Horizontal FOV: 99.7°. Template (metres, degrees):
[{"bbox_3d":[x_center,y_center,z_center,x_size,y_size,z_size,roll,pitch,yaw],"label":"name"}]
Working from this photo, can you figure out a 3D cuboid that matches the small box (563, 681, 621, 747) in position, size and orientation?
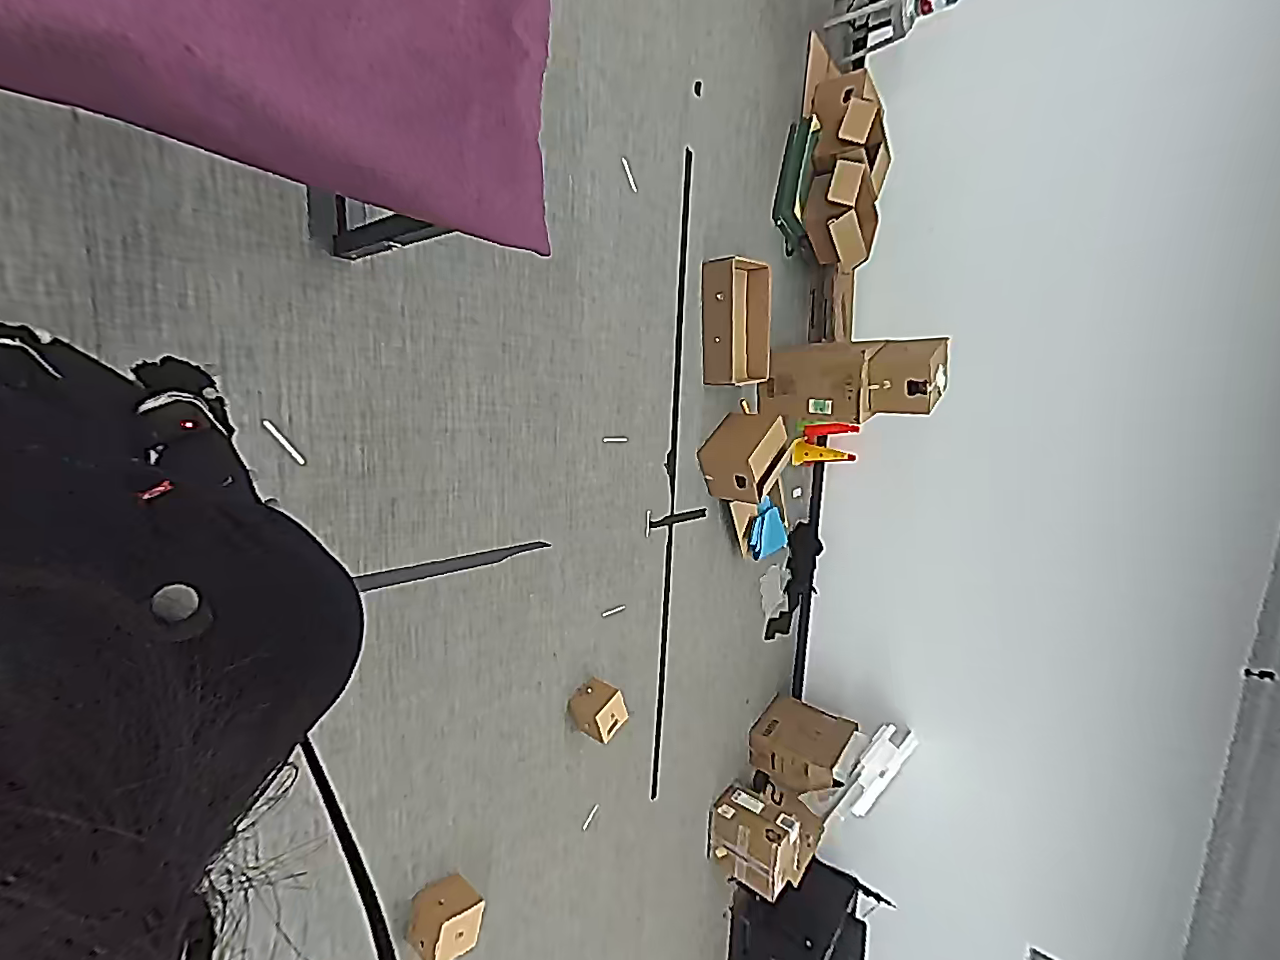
[{"bbox_3d":[-0.212,1.019,2.371,0.168,0.176,0.179,-37,124,-42],"label":"small box"}]

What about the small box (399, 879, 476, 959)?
[{"bbox_3d":[-0.700,1.532,1.860,0.179,0.176,0.168,14,88,-53],"label":"small box"}]
